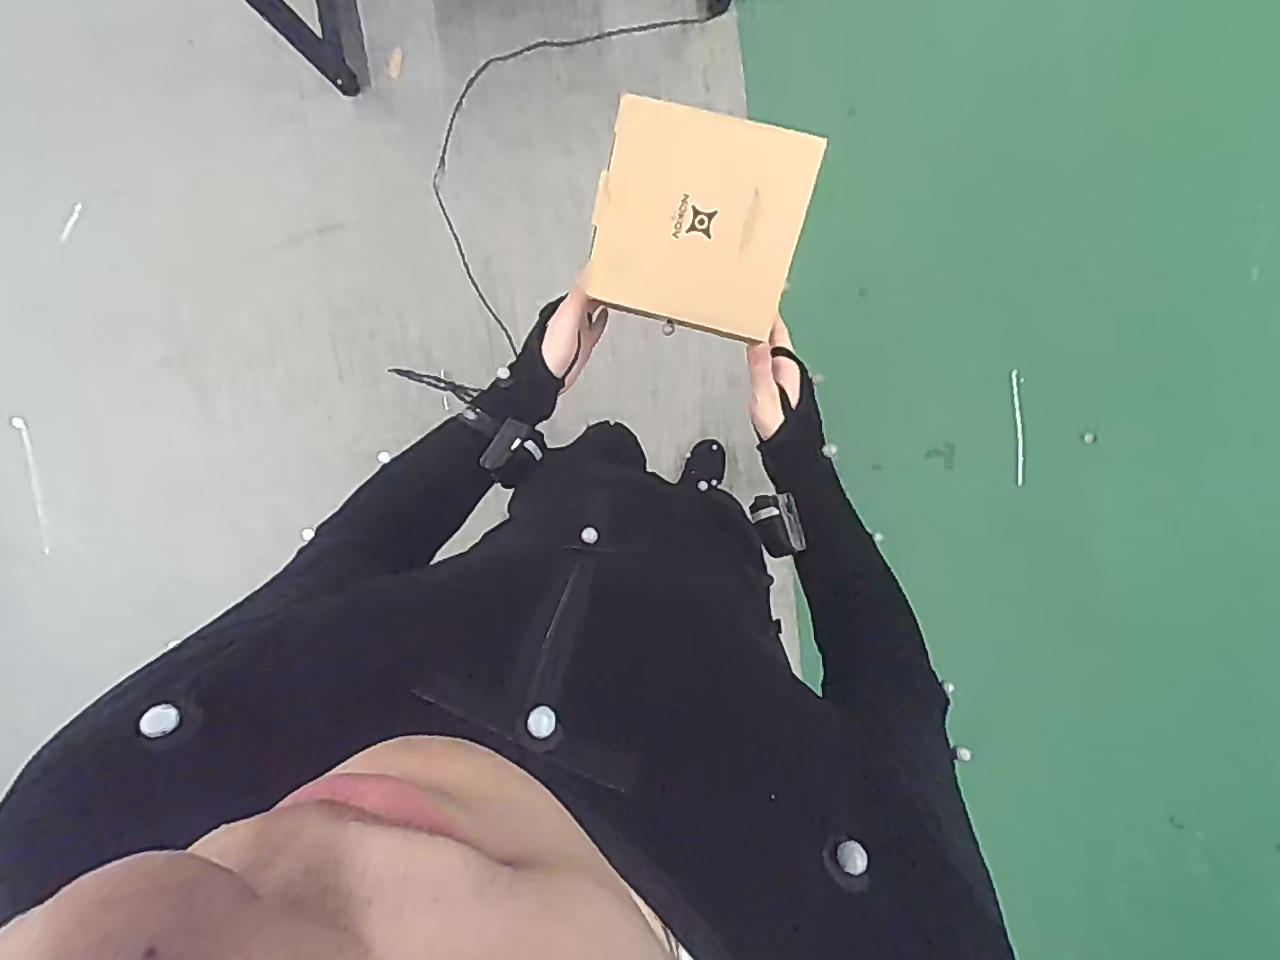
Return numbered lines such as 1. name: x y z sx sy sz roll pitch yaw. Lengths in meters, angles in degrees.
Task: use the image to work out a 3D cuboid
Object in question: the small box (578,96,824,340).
1. small box: 0.057 -0.239 0.539 0.179 0.176 0.168 16 105 3
